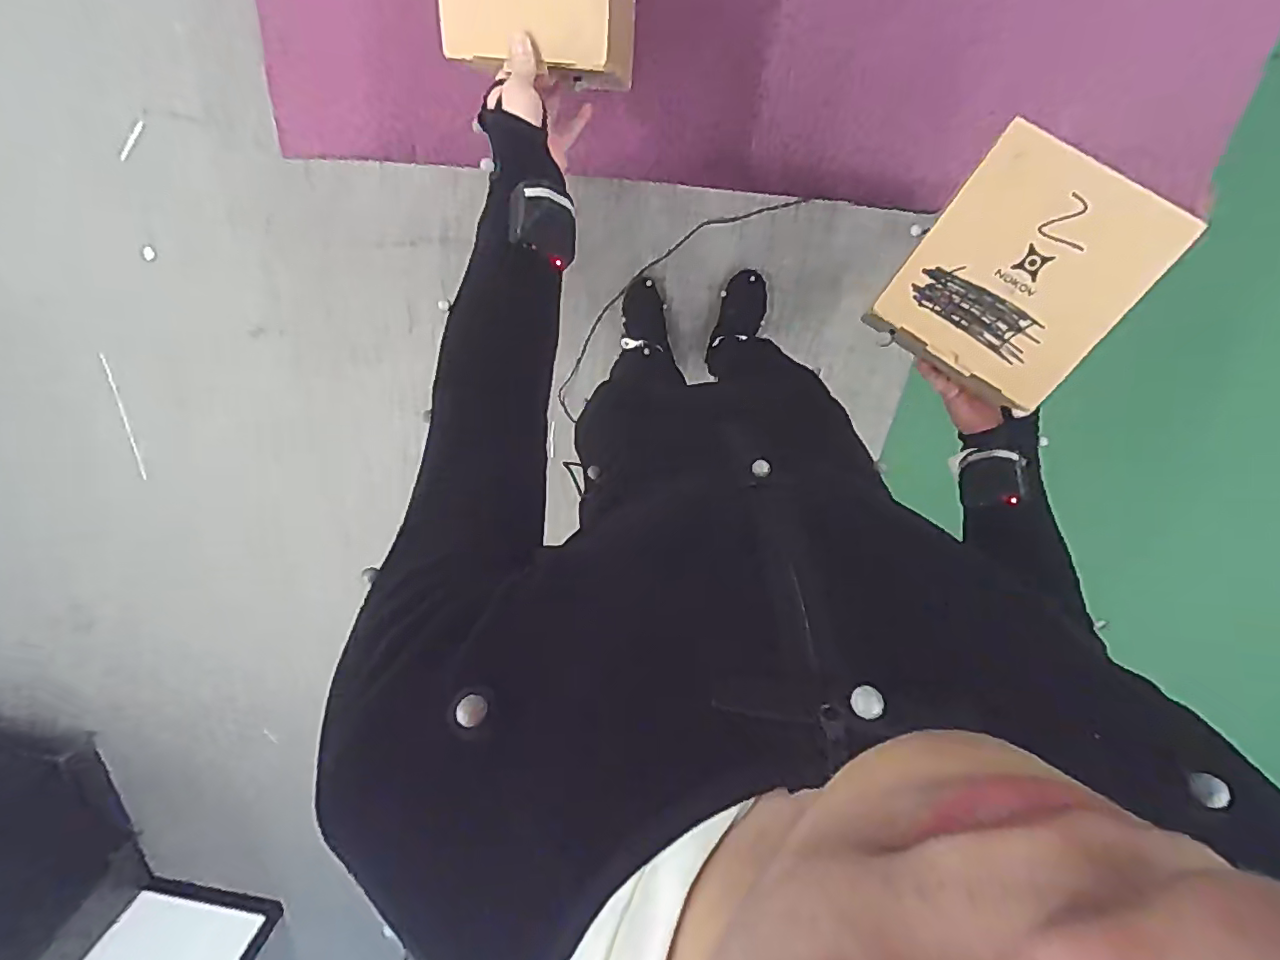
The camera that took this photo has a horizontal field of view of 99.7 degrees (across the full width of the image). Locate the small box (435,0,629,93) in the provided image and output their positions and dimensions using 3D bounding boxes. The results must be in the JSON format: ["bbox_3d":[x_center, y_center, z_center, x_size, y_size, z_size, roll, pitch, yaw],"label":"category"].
[{"bbox_3d":[-0.102,-0.521,0.561,0.168,0.176,0.179,7,120,3],"label":"small box"}]
